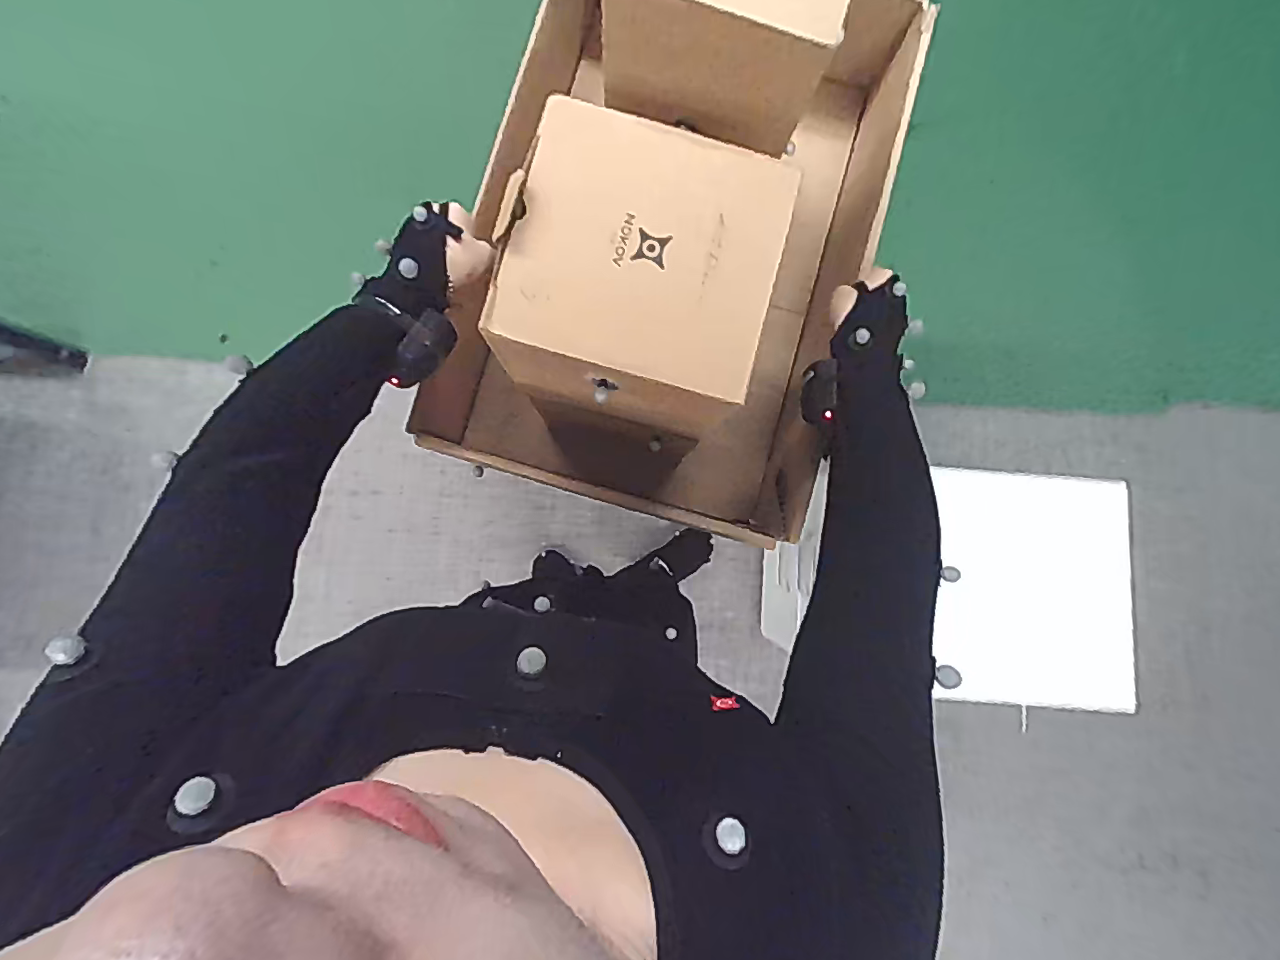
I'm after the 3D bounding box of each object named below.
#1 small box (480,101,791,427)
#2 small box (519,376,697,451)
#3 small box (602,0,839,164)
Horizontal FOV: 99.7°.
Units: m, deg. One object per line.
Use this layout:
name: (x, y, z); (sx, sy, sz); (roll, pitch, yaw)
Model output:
small box: (-0.006, -0.148, 0.436); (0.179, 0.176, 0.168); (15, 87, -4)
small box: (-0.016, -0.136, 0.599); (0.179, 0.176, 0.168); (15, 86, -3)
small box: (0.066, -0.393, 0.449); (0.168, 0.176, 0.179); (17, 89, -3)
